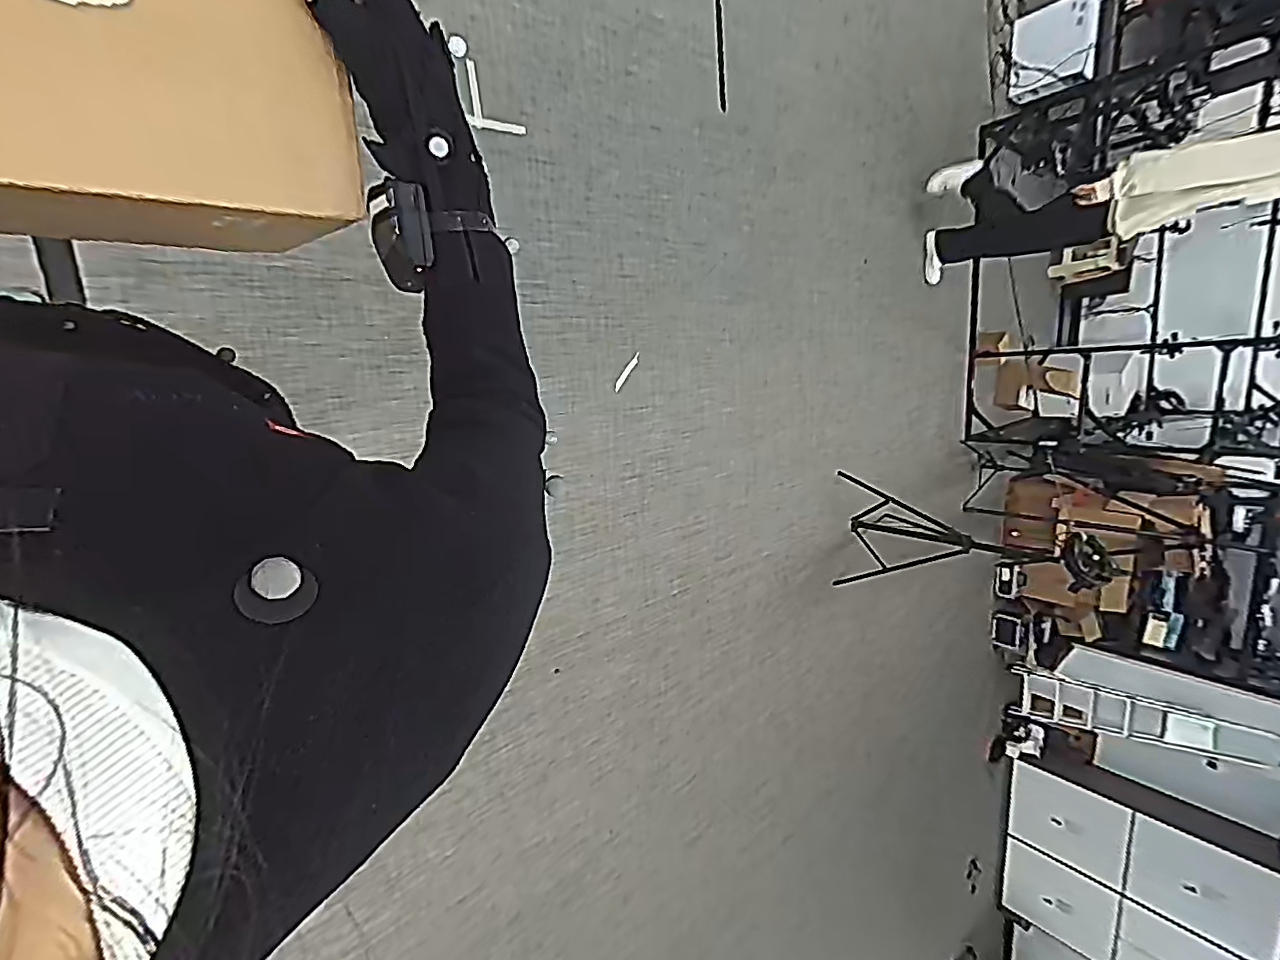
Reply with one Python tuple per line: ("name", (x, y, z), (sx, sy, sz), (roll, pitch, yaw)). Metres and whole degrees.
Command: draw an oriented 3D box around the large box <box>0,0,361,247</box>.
("large box", (-0.456, -0.334, 0.338), (0.408, 0.320, 0.320), (-15, 114, -40))
